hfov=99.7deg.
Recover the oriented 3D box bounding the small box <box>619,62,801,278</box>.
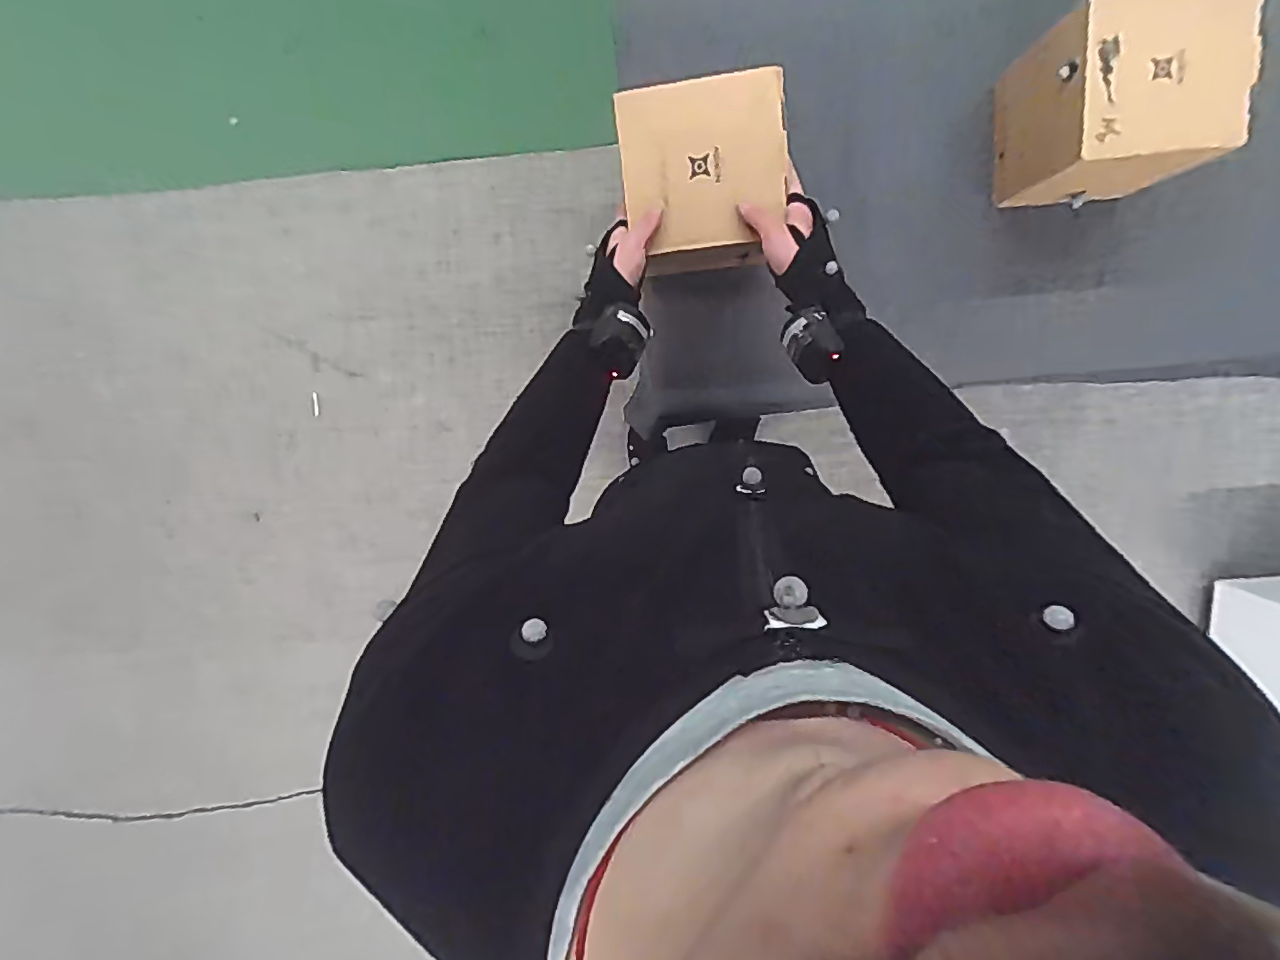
[{"bbox_3d":[0.078,-0.341,0.630,0.179,0.176,0.168,-6,102,5],"label":"small box"}]

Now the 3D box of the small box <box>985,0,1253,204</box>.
[{"bbox_3d":[0.562,-0.454,0.658,0.179,0.176,0.168,-5,100,0],"label":"small box"}]
